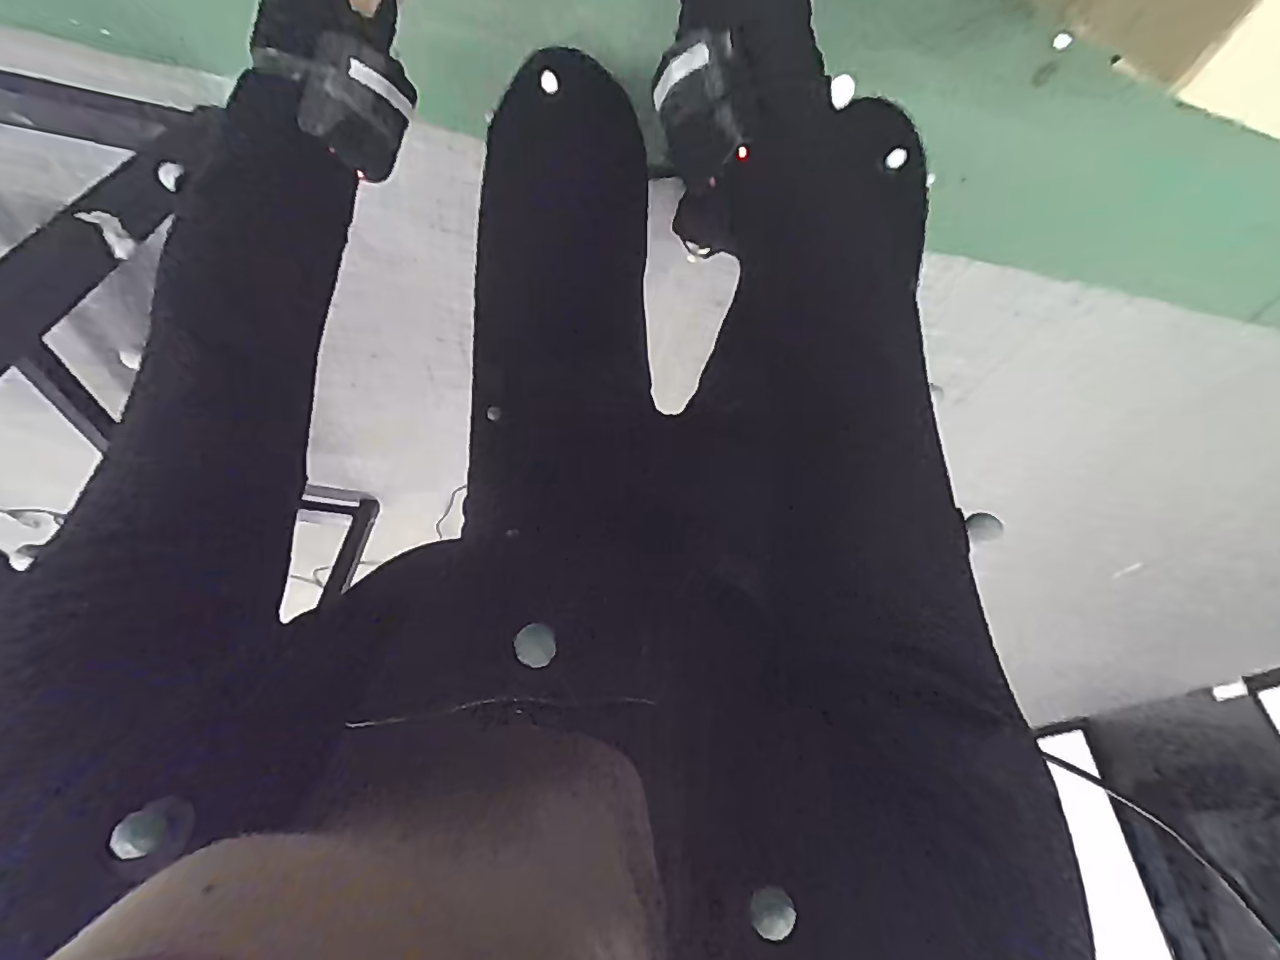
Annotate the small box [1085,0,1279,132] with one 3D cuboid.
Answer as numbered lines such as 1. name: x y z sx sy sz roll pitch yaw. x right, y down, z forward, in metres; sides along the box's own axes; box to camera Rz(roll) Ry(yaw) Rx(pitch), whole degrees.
1. small box: 0.448 -0.342 0.344 0.179 0.176 0.168 12 143 -10
